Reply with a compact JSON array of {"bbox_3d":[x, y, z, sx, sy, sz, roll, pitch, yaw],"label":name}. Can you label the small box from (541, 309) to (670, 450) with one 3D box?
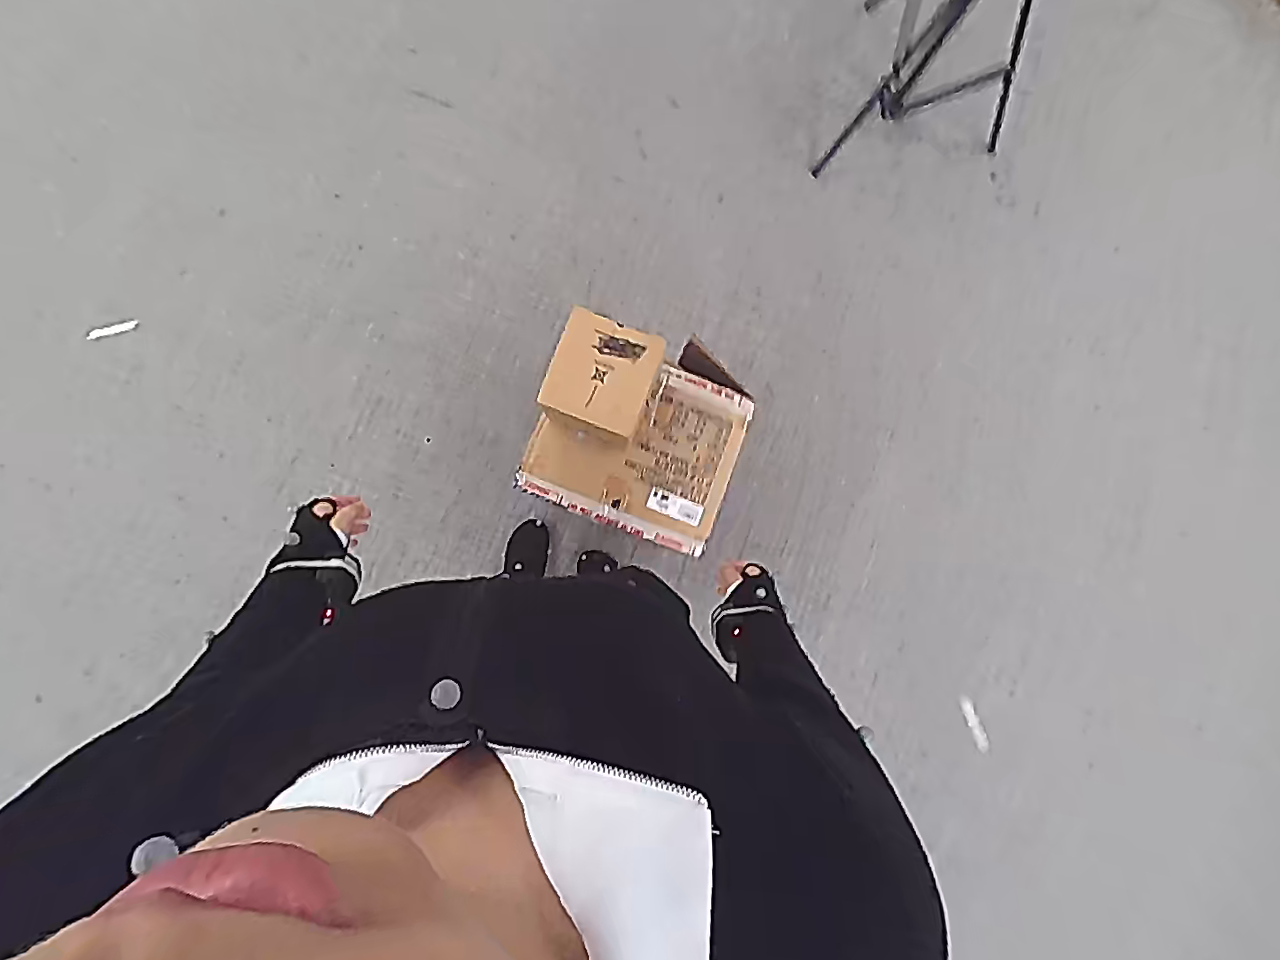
[{"bbox_3d":[-0.059,-0.167,0.961,0.168,0.176,0.179,22,86,0],"label":"small box"}]
